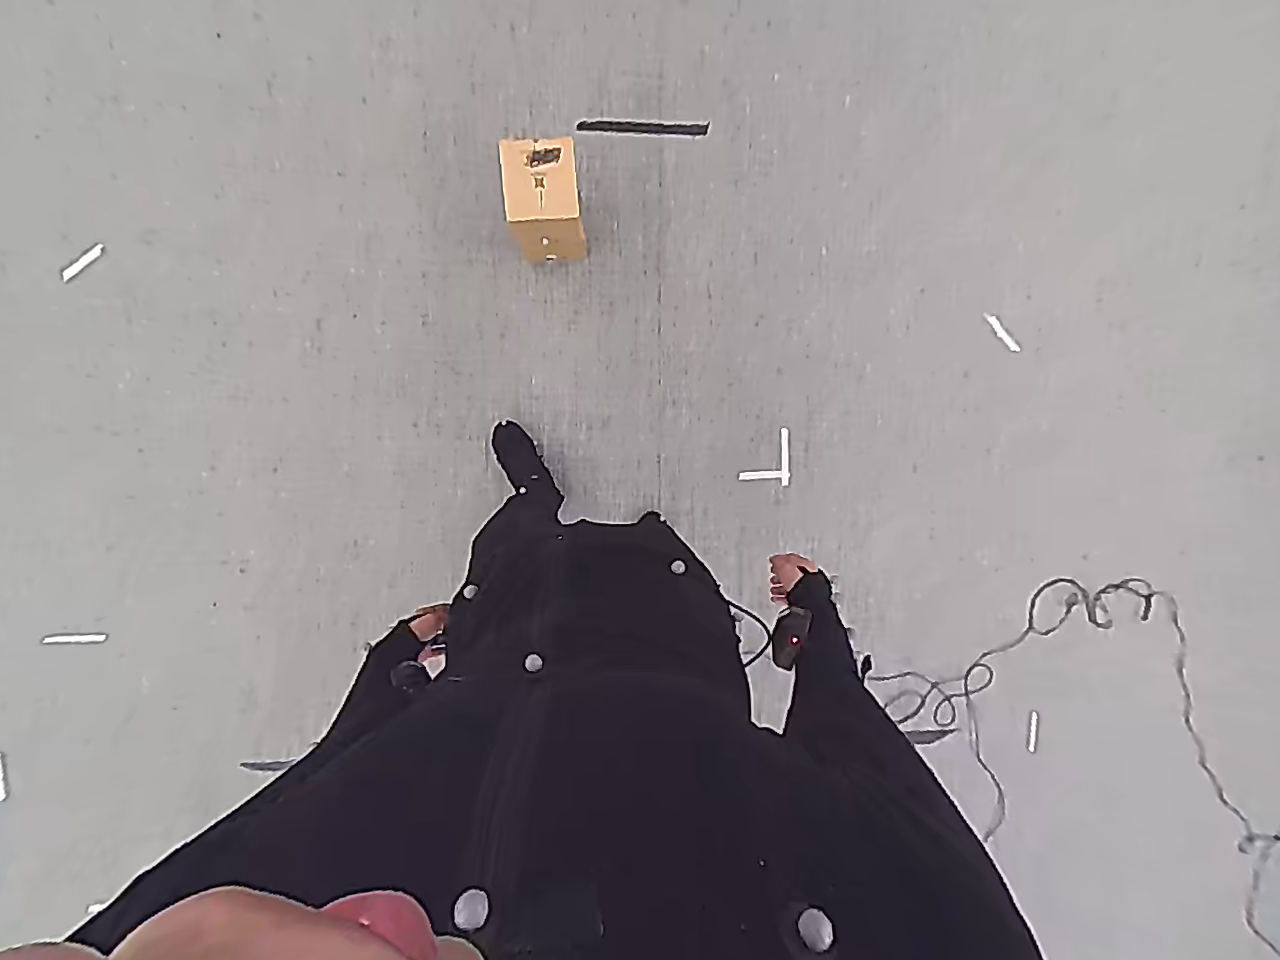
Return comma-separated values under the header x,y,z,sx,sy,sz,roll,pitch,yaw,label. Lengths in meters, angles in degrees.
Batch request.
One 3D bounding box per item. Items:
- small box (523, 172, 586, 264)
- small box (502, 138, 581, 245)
x,y,z,sx,sy,sz,roll,pitch,yaw,label
-0.236,-0.698,1.446,0.168,0.176,0.179,-6,96,-4,small box
-0.228,-0.677,1.283,0.168,0.176,0.179,-5,96,-4,small box
